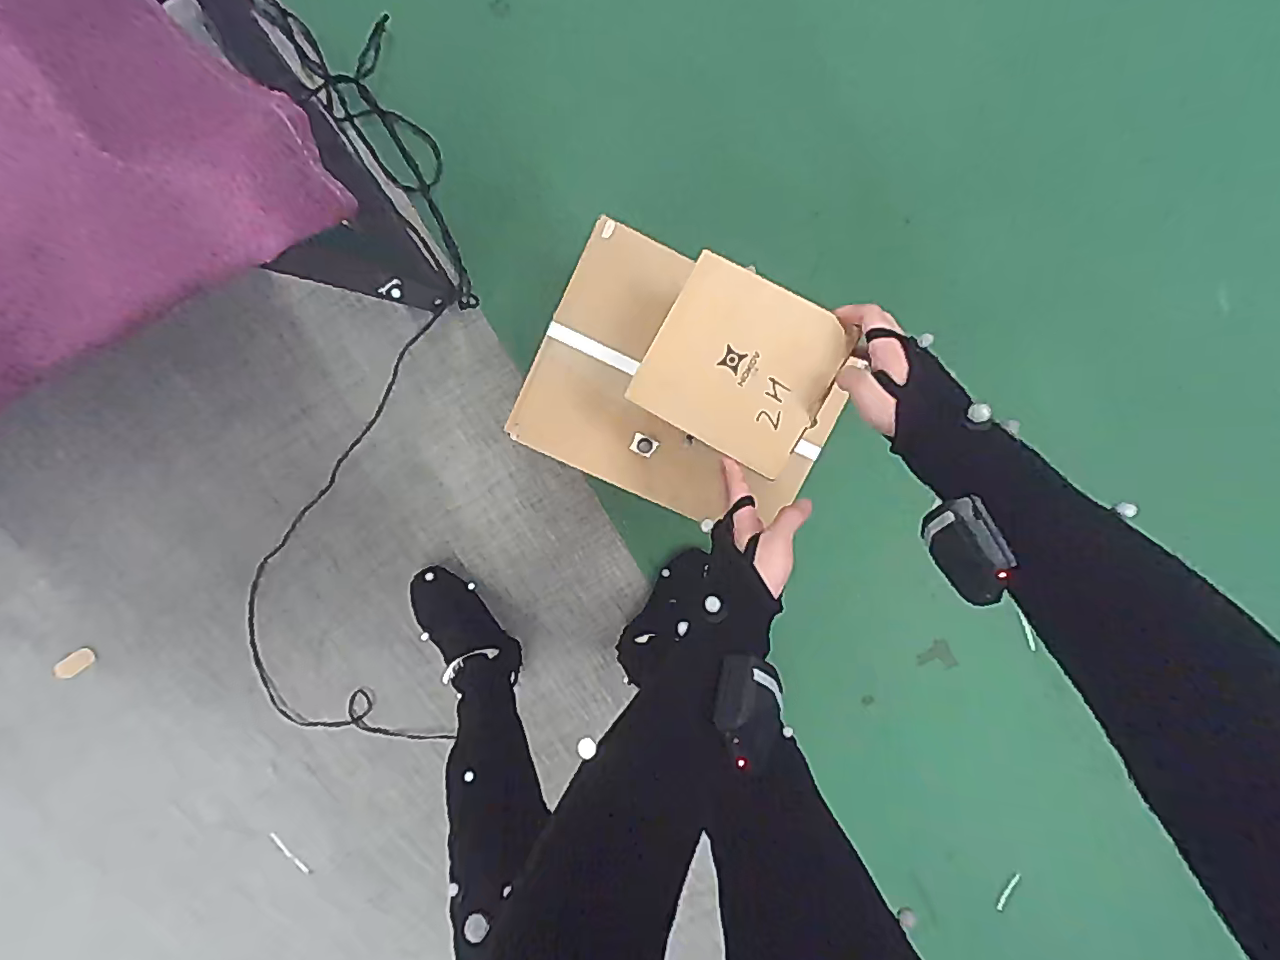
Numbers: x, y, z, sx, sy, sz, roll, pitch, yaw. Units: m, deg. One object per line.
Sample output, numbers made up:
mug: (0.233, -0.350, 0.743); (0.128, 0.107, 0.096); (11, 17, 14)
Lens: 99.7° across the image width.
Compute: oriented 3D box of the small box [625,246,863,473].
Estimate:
small box: (0.110, -0.119, 0.603); (0.179, 0.176, 0.168); (31, 97, 7)
